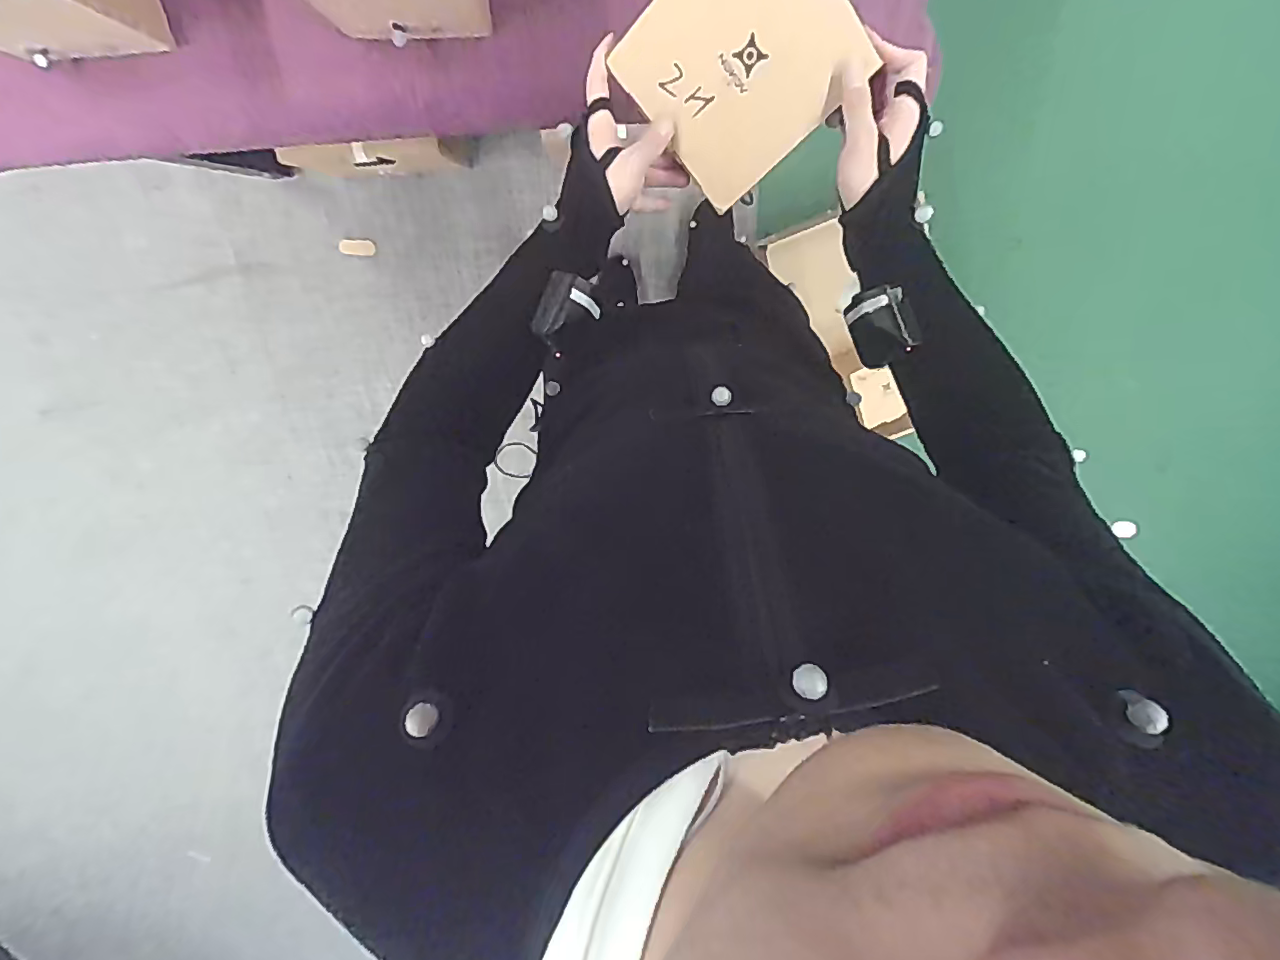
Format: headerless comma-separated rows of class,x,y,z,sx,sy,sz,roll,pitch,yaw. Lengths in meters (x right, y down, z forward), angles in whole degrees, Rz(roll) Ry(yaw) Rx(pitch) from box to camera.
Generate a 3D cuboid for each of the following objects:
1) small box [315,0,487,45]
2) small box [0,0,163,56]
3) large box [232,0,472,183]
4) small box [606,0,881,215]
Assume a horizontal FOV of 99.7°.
small box,-0.256,-0.563,0.529,0.168,0.176,0.179,-3,114,-2
small box,-0.617,-0.530,0.511,0.168,0.176,0.179,-6,113,-3
large box,-0.561,-0.857,1.098,0.320,0.320,0.408,-5,114,-3
small box,0.091,-0.397,0.518,0.179,0.176,0.168,-36,115,27
